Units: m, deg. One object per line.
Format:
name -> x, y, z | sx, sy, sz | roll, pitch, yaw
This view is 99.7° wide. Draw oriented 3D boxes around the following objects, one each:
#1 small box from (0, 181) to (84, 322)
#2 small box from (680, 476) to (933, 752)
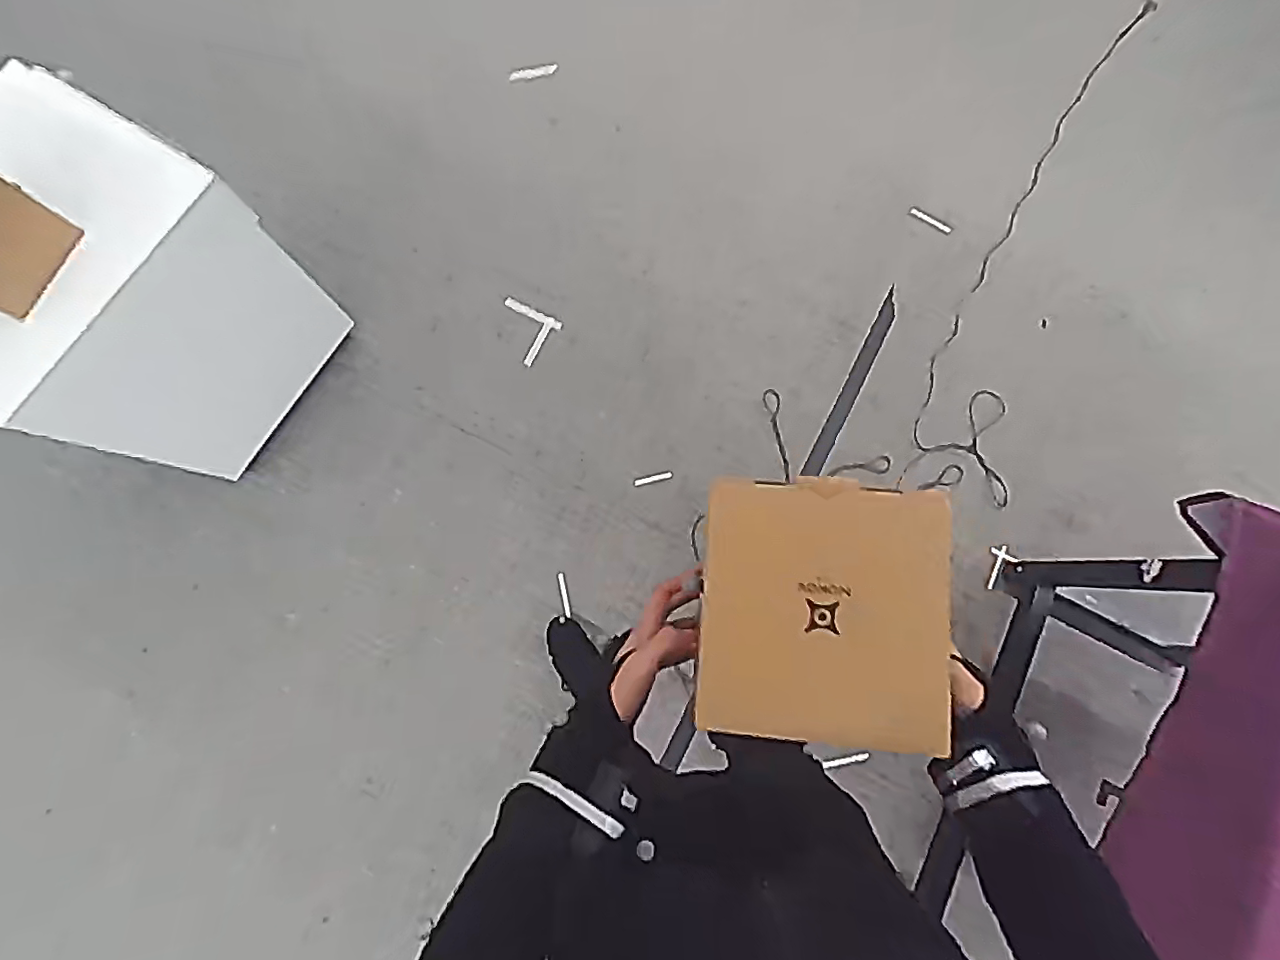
small box -> -0.998, -0.363, 0.792 | 0.168, 0.176, 0.179 | 23, 79, -1
small box -> 0.125, 0.099, 0.451 | 0.168, 0.176, 0.179 | 3, 81, 7
